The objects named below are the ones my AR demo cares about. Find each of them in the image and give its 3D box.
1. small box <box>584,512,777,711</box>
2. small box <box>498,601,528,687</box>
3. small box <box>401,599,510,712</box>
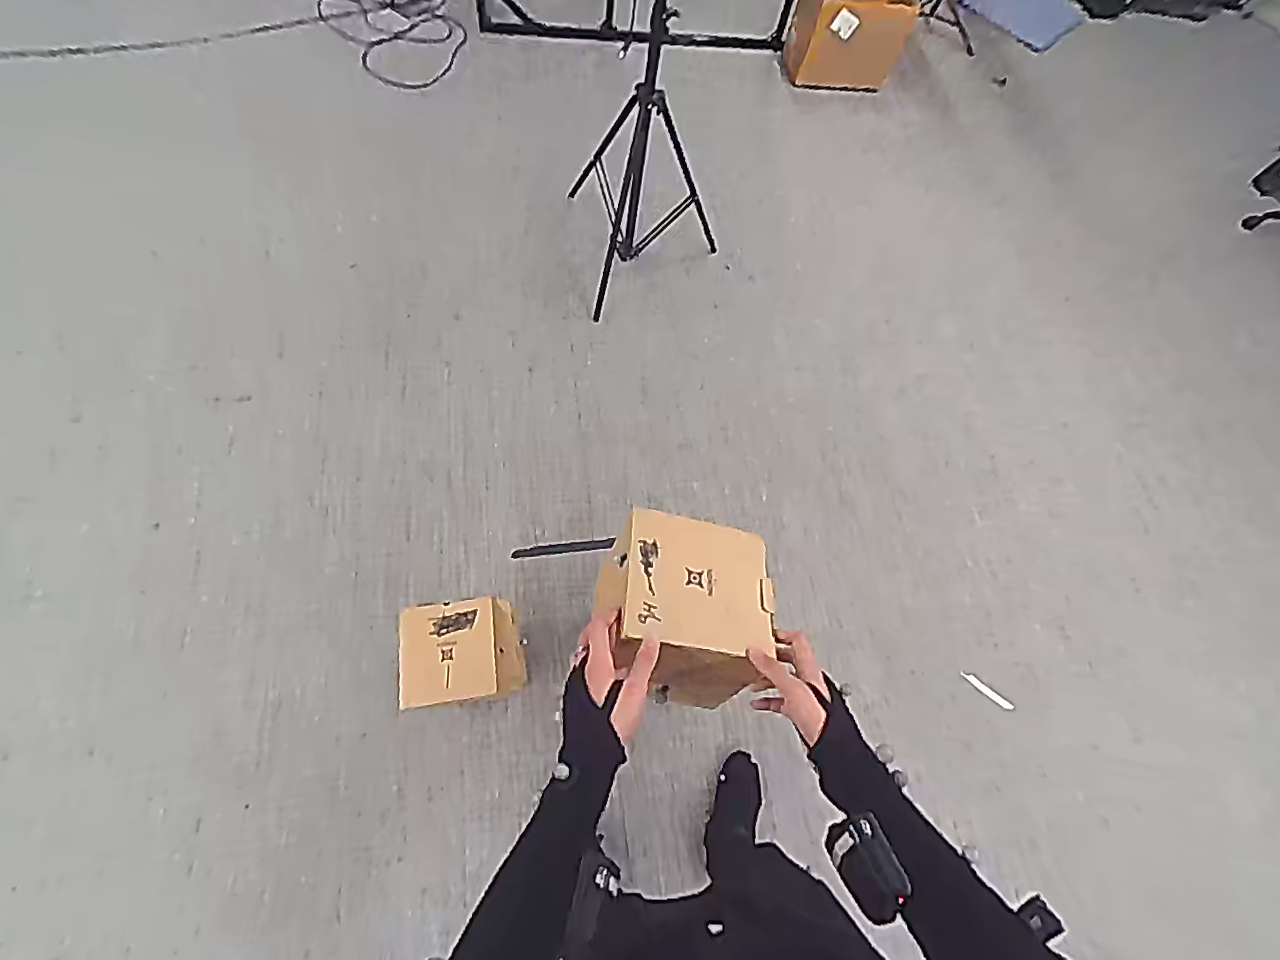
[{"bbox_3d":[0.044,0.168,0.663,0.179,0.176,0.168,15,48,-12],"label":"small box"},{"bbox_3d":[-0.353,0.380,1.195,0.179,0.176,0.168,-9,68,-11],"label":"small box"},{"bbox_3d":[-0.346,0.339,1.034,0.168,0.176,0.179,-6,68,-8],"label":"small box"}]
